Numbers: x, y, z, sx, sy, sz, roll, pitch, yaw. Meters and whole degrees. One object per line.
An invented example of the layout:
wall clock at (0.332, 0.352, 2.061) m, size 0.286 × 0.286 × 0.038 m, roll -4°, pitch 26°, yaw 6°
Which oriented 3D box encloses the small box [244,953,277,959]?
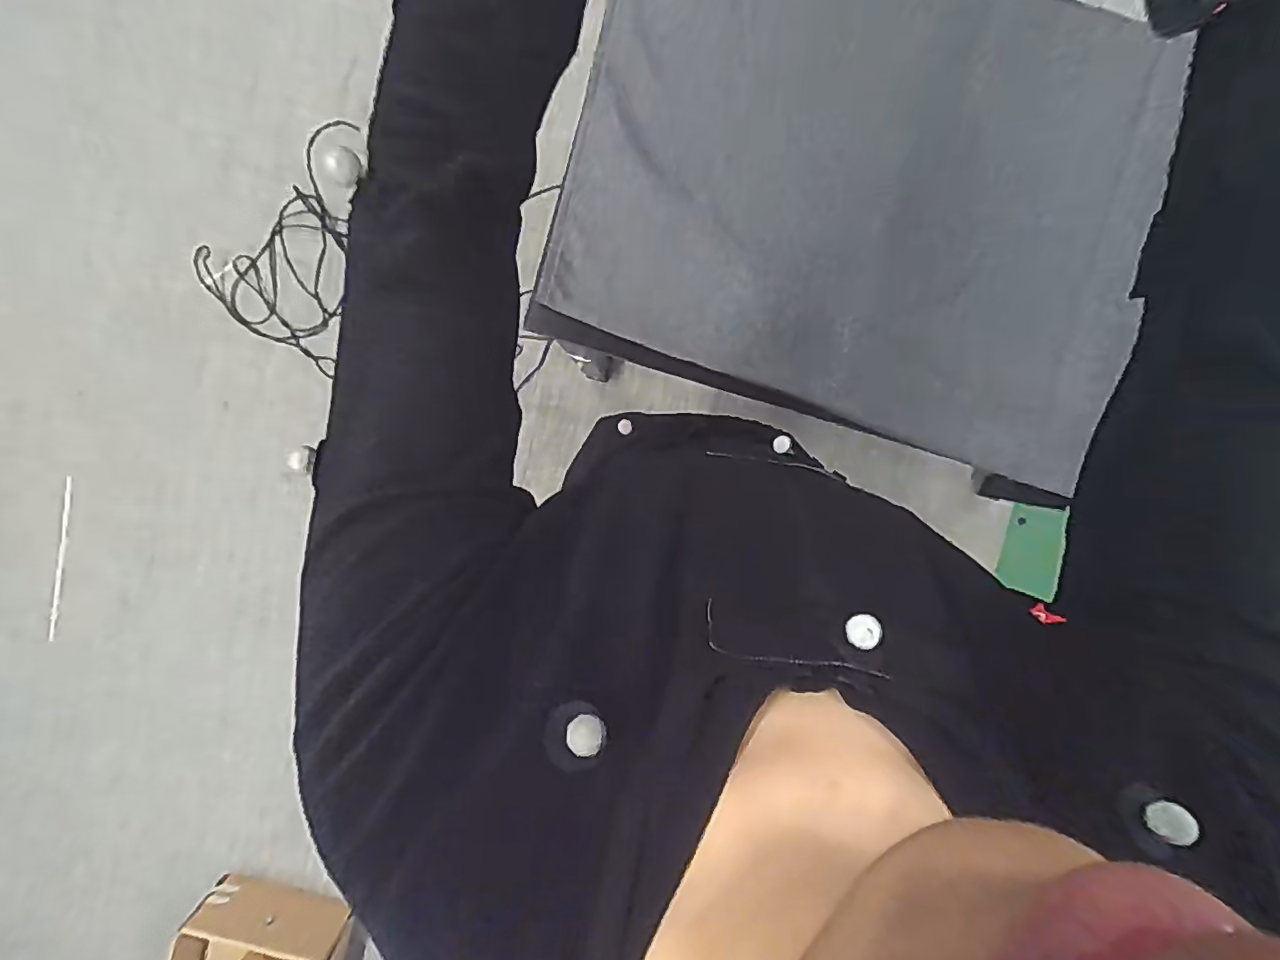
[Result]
small box at (-1.044, 1.435, 1.443) m, size 0.168 × 0.176 × 0.179 m, roll 15°, pitch 95°, yaw -1°
